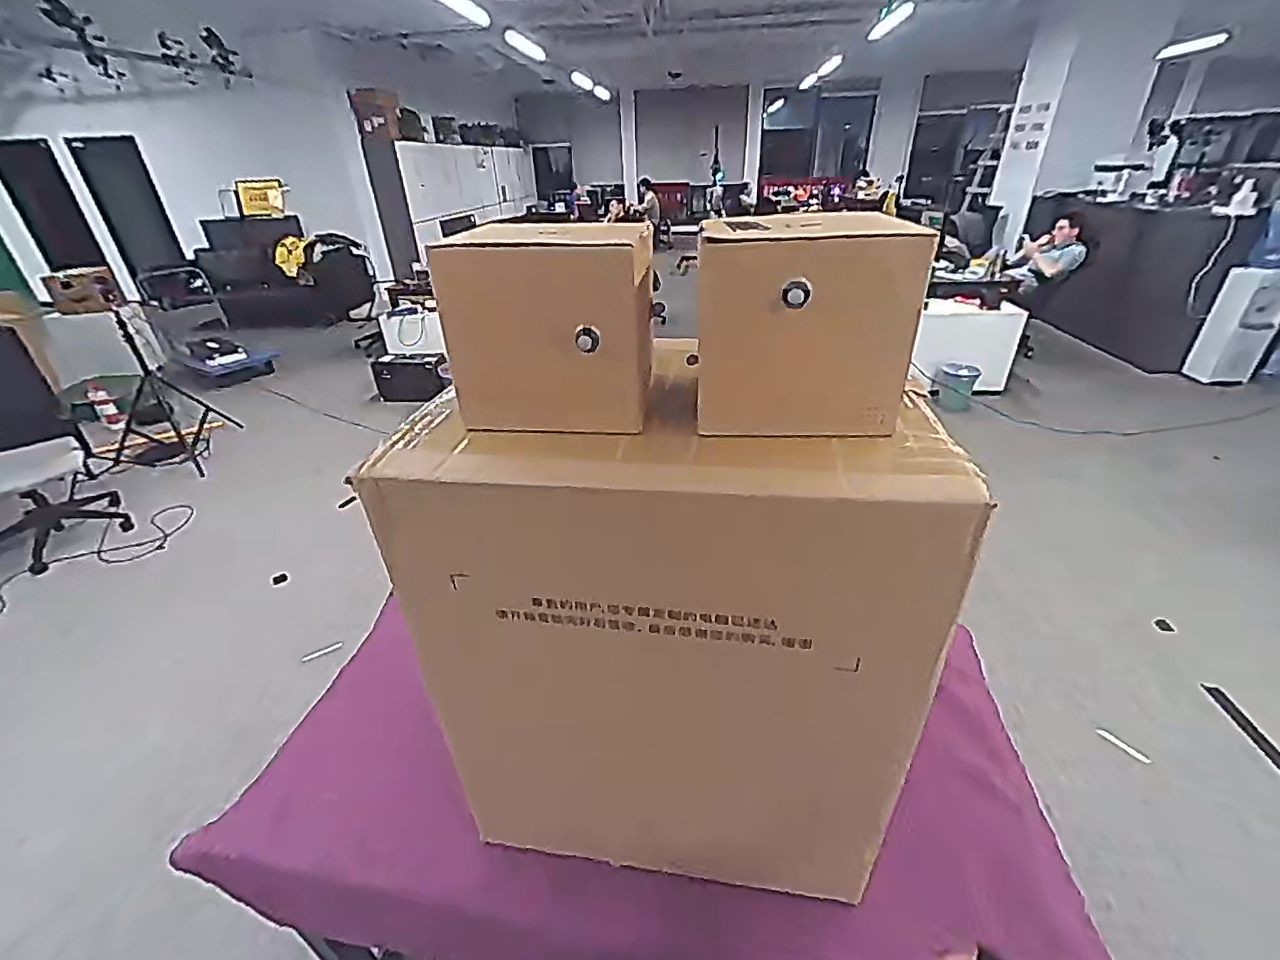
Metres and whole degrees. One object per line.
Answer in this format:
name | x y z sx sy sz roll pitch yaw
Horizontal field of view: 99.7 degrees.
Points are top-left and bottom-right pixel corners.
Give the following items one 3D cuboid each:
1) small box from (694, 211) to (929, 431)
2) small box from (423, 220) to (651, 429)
small box | 0.141 -0.154 0.513 0.179 0.176 0.168 1 30 6
small box | -0.081 -0.157 0.539 0.179 0.176 0.168 1 30 6
